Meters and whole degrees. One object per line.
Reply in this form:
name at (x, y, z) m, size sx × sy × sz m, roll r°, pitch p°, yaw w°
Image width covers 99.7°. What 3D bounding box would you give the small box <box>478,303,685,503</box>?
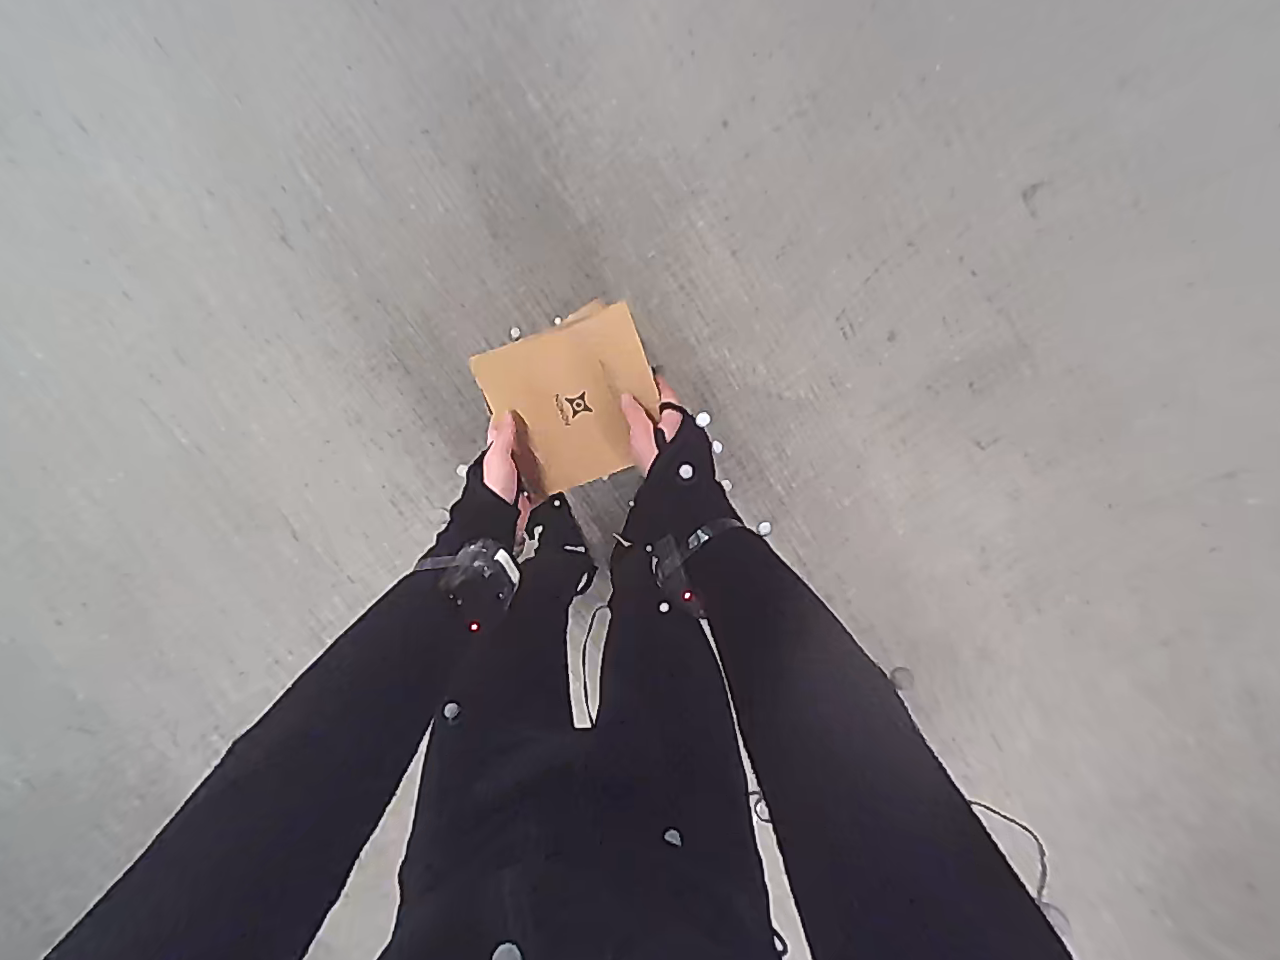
small box at (-0.060, -0.097, 0.640) m, size 0.179 × 0.176 × 0.168 m, roll -21°, pitch 107°, yaw 4°
